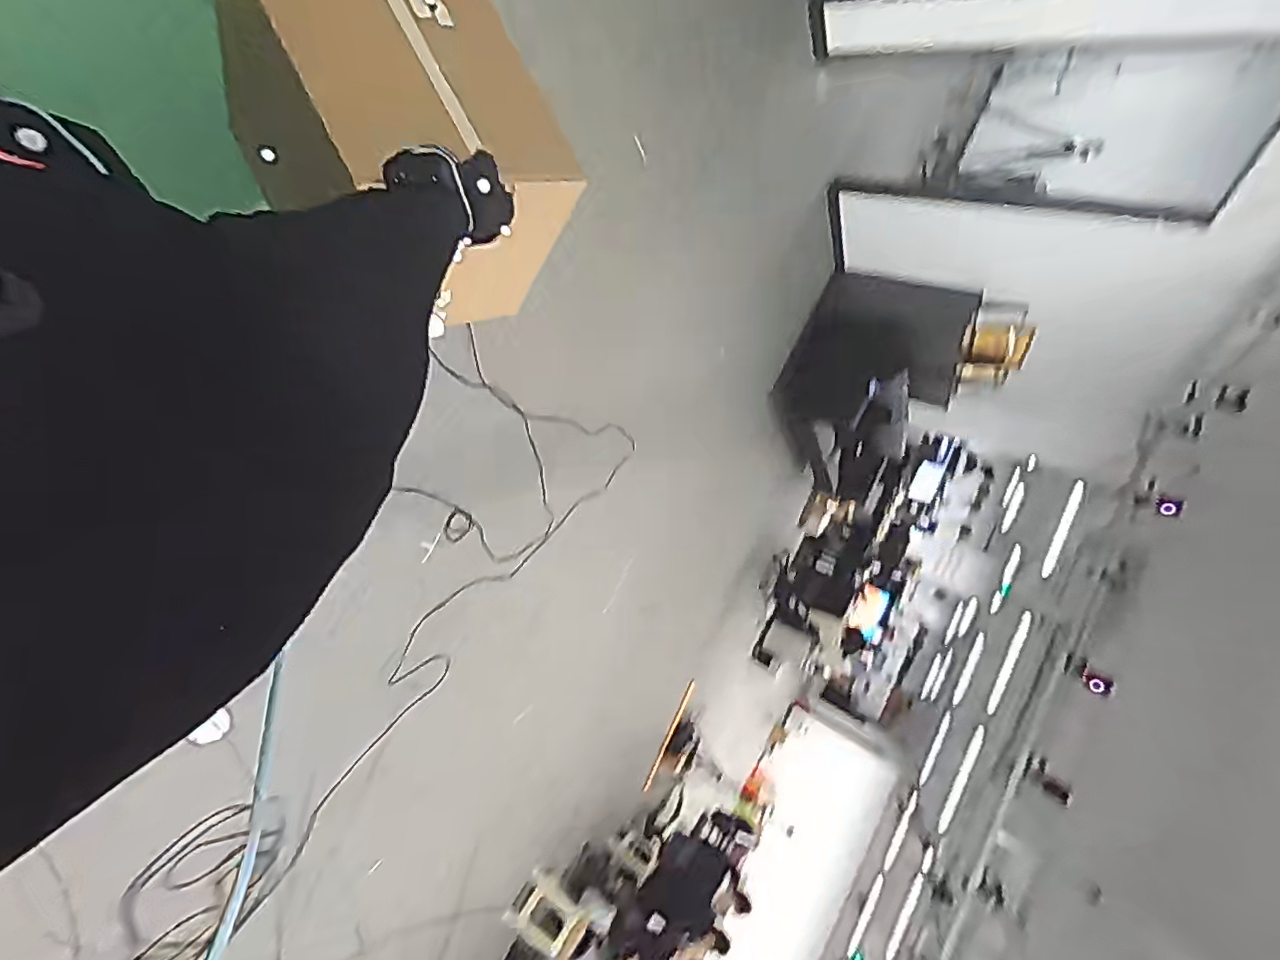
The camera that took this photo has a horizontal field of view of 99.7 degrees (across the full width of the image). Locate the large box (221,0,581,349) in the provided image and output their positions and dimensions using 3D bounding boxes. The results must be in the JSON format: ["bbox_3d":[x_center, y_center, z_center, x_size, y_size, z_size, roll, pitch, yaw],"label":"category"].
[{"bbox_3d":[-0.358,-0.470,0.811,0.320,0.408,0.320,-25,173,-37],"label":"large box"}]
